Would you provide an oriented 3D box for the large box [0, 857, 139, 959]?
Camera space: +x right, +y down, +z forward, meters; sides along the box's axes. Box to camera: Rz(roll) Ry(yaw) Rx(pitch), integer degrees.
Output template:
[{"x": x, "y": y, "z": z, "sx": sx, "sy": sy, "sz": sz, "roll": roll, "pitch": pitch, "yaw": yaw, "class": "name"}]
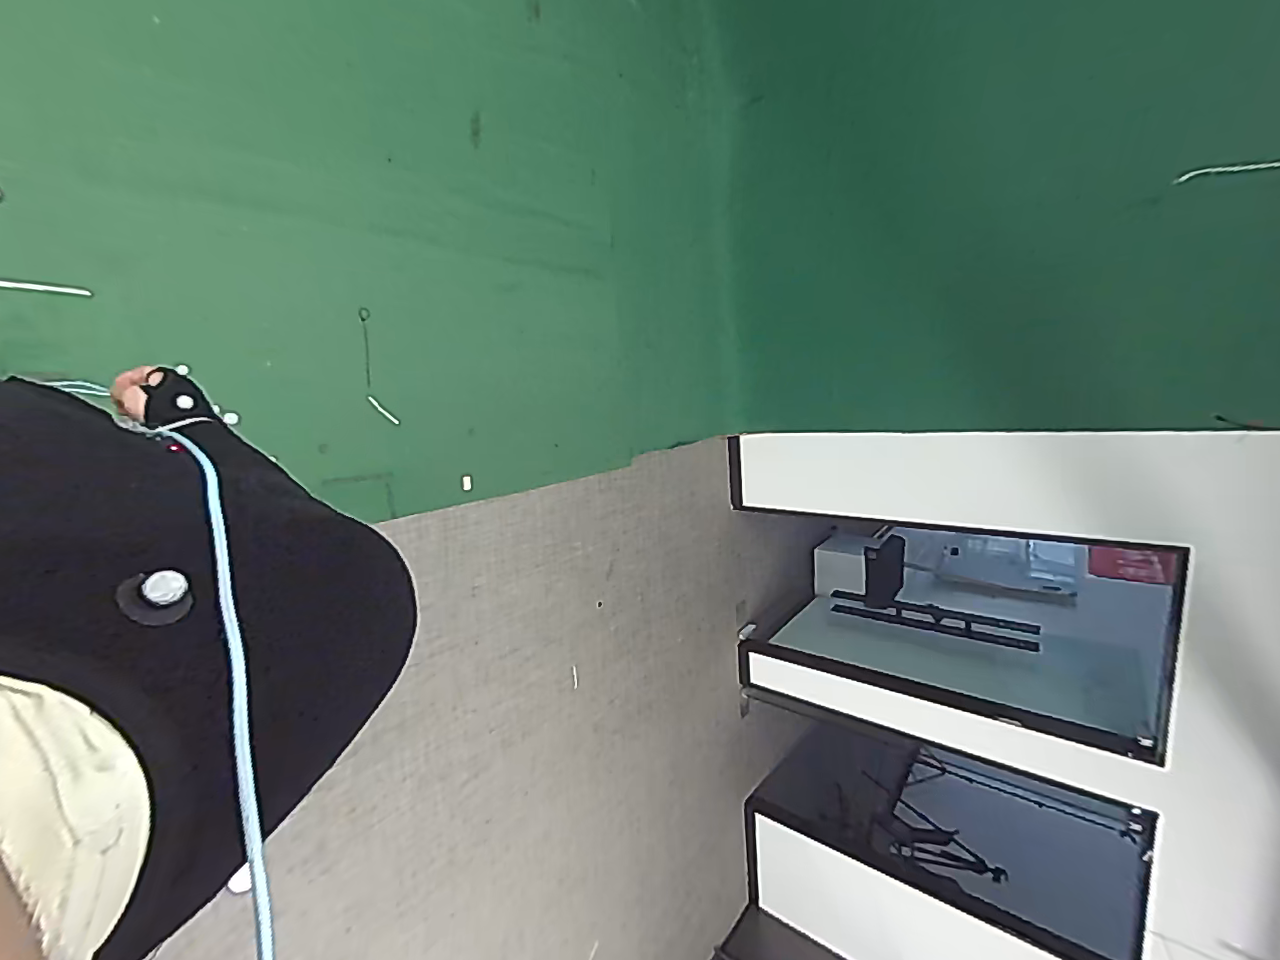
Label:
[{"x": -1.233, "y": 1.054, "z": 1.027, "sx": 0.408, "sy": 0.320, "sz": 0.320, "roll": -19, "pitch": 108, "yaw": -49, "class": "large box"}]
